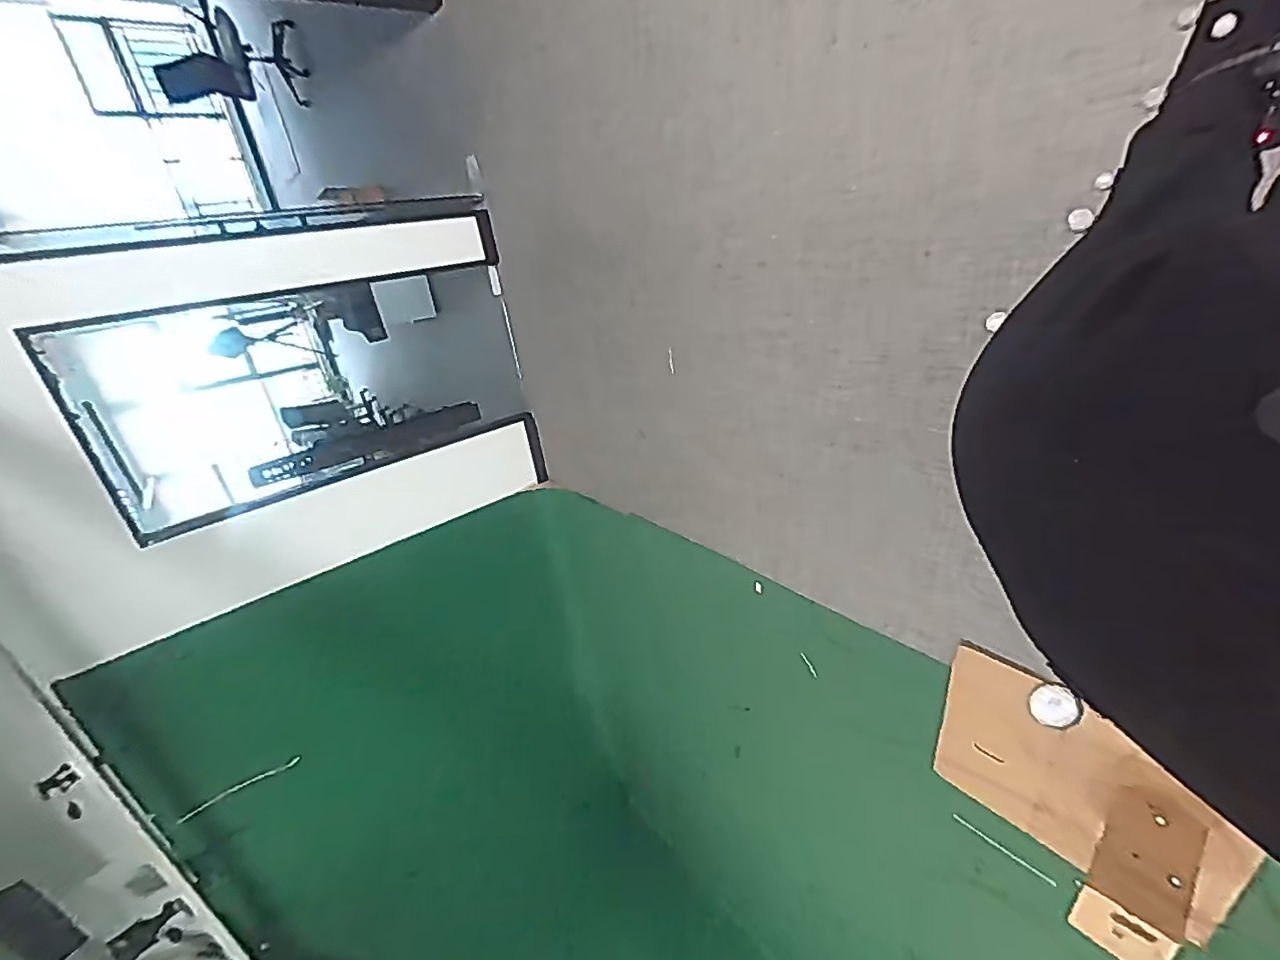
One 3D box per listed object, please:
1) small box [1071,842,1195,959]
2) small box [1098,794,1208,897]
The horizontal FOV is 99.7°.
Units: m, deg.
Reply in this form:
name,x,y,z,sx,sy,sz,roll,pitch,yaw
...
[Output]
name,x,y,z,sx,sy,sz,roll,pitch,yaw
small box,1.151,1.004,1.263,0.168,0.176,0.179,24,130,46
small box,1.276,0.944,1.352,0.168,0.176,0.179,21,127,46
